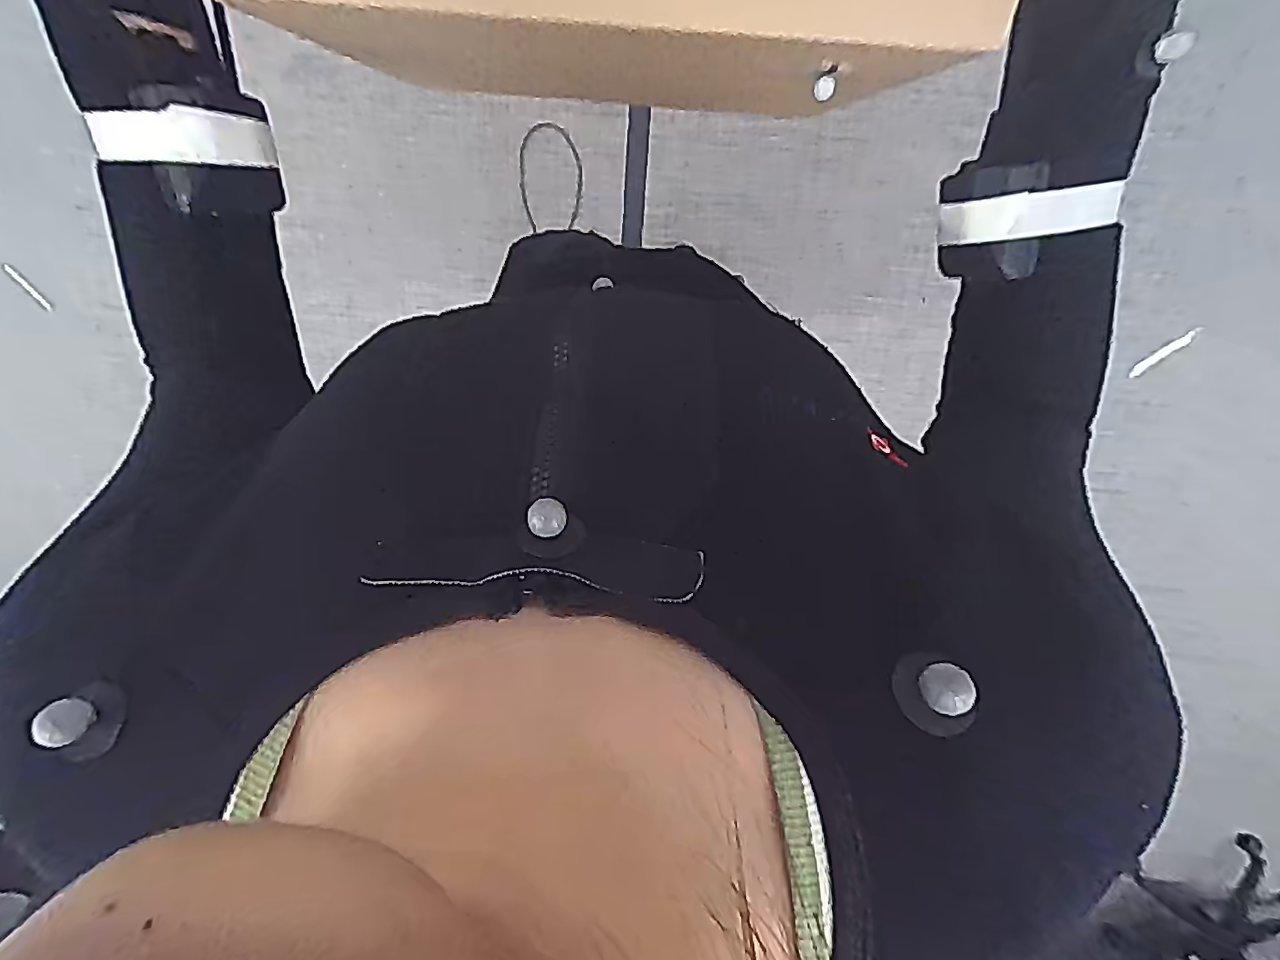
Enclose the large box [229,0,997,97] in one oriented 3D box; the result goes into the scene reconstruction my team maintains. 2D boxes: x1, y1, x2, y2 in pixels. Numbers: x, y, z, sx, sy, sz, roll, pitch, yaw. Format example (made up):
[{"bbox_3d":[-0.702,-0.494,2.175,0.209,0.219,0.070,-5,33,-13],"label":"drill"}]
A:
[{"bbox_3d":[-0.008,-0.443,0.333,0.408,0.320,0.320,2,119,-2],"label":"large box"}]
